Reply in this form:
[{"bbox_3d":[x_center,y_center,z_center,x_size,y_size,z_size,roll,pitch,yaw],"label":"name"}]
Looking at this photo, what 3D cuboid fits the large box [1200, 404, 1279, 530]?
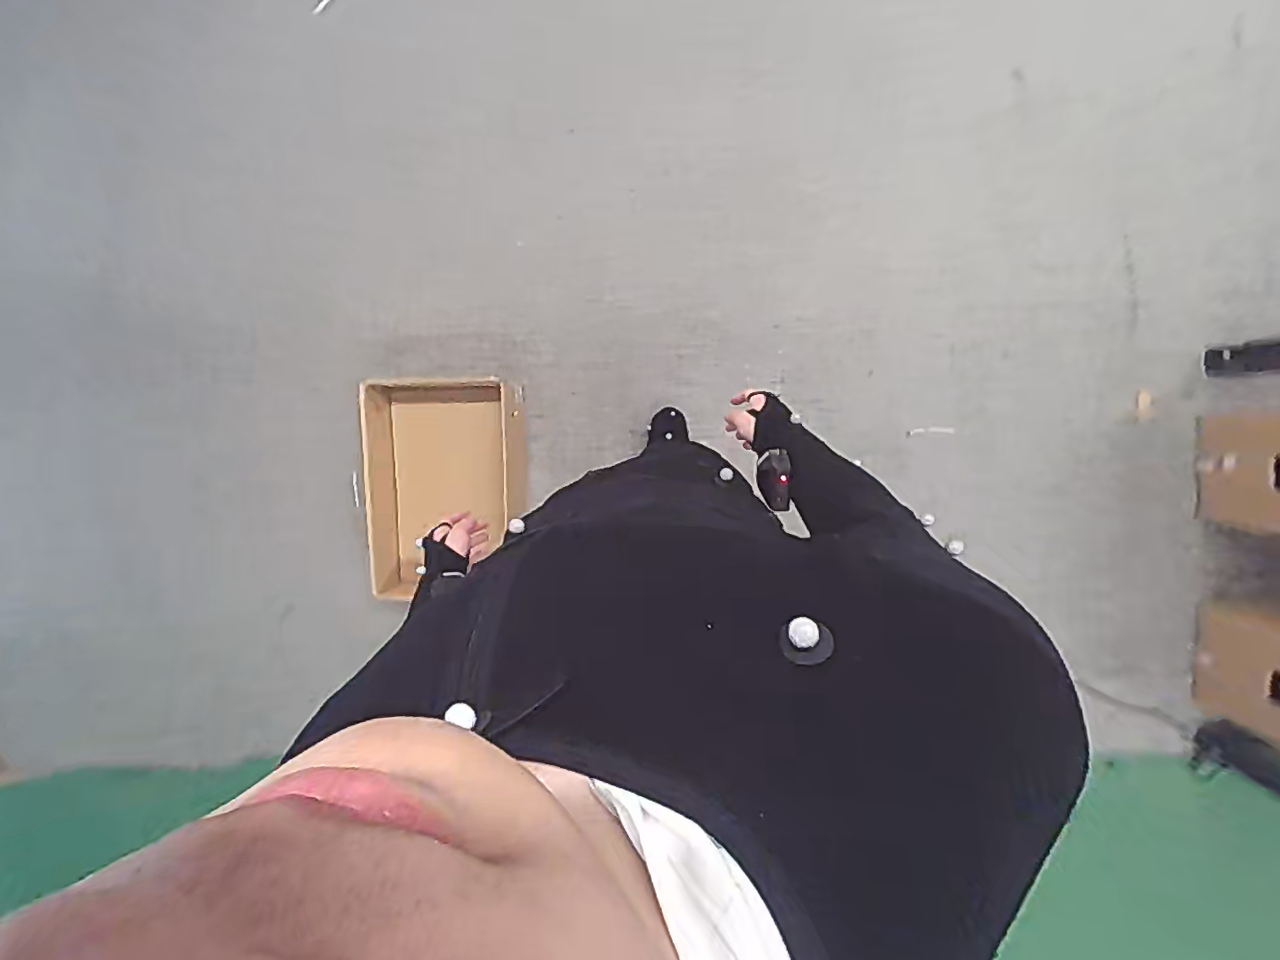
[{"bbox_3d":[1.776,-0.049,1.370,0.408,0.320,0.320,-5,96,3],"label":"large box"}]
